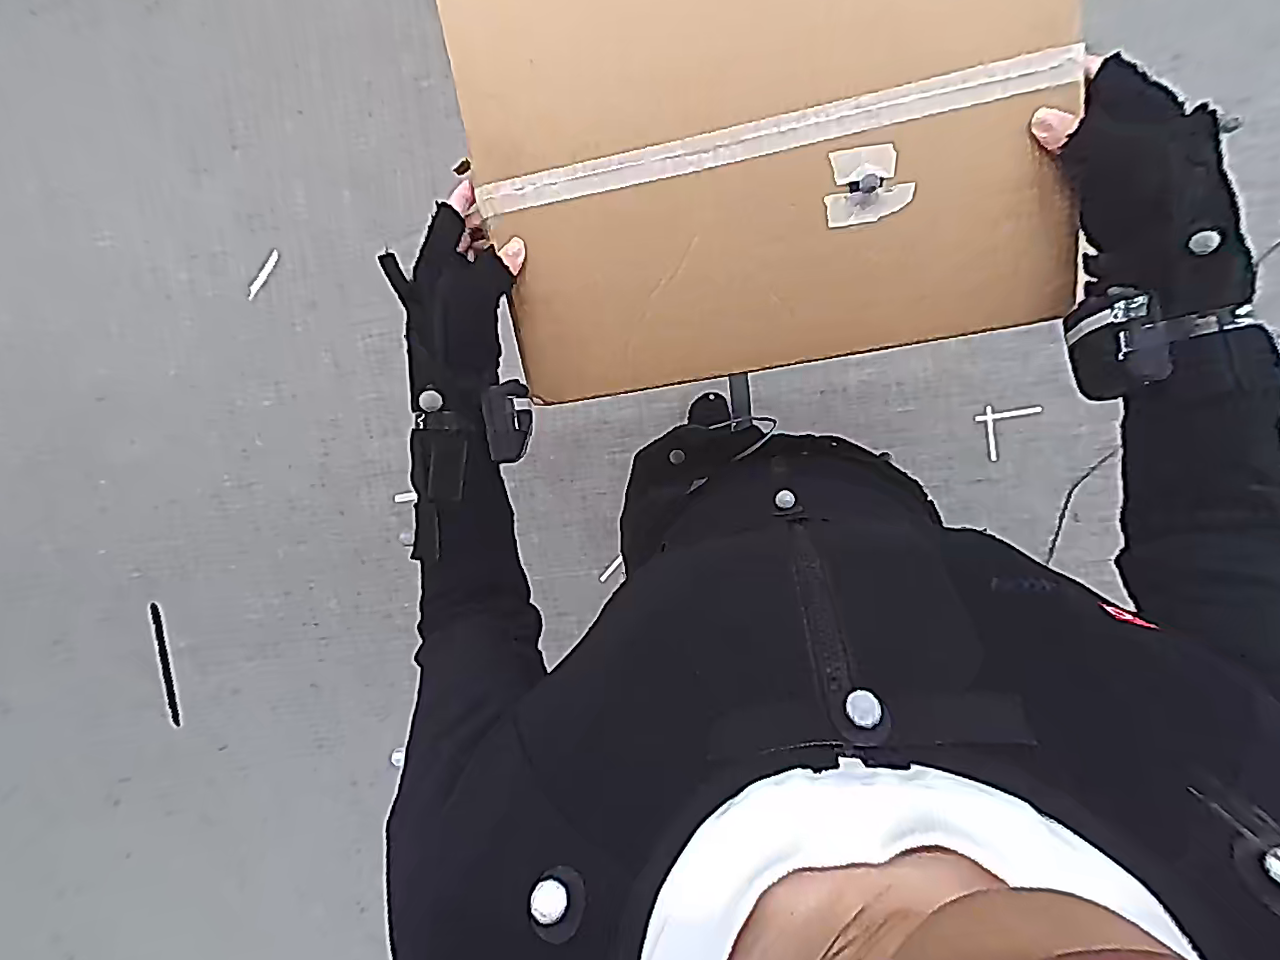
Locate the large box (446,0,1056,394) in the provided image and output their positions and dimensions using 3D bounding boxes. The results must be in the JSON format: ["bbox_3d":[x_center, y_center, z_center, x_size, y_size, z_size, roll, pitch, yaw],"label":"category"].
[{"bbox_3d":[0.093,-0.288,0.530,0.408,0.320,0.320,-9,106,8],"label":"large box"}]
